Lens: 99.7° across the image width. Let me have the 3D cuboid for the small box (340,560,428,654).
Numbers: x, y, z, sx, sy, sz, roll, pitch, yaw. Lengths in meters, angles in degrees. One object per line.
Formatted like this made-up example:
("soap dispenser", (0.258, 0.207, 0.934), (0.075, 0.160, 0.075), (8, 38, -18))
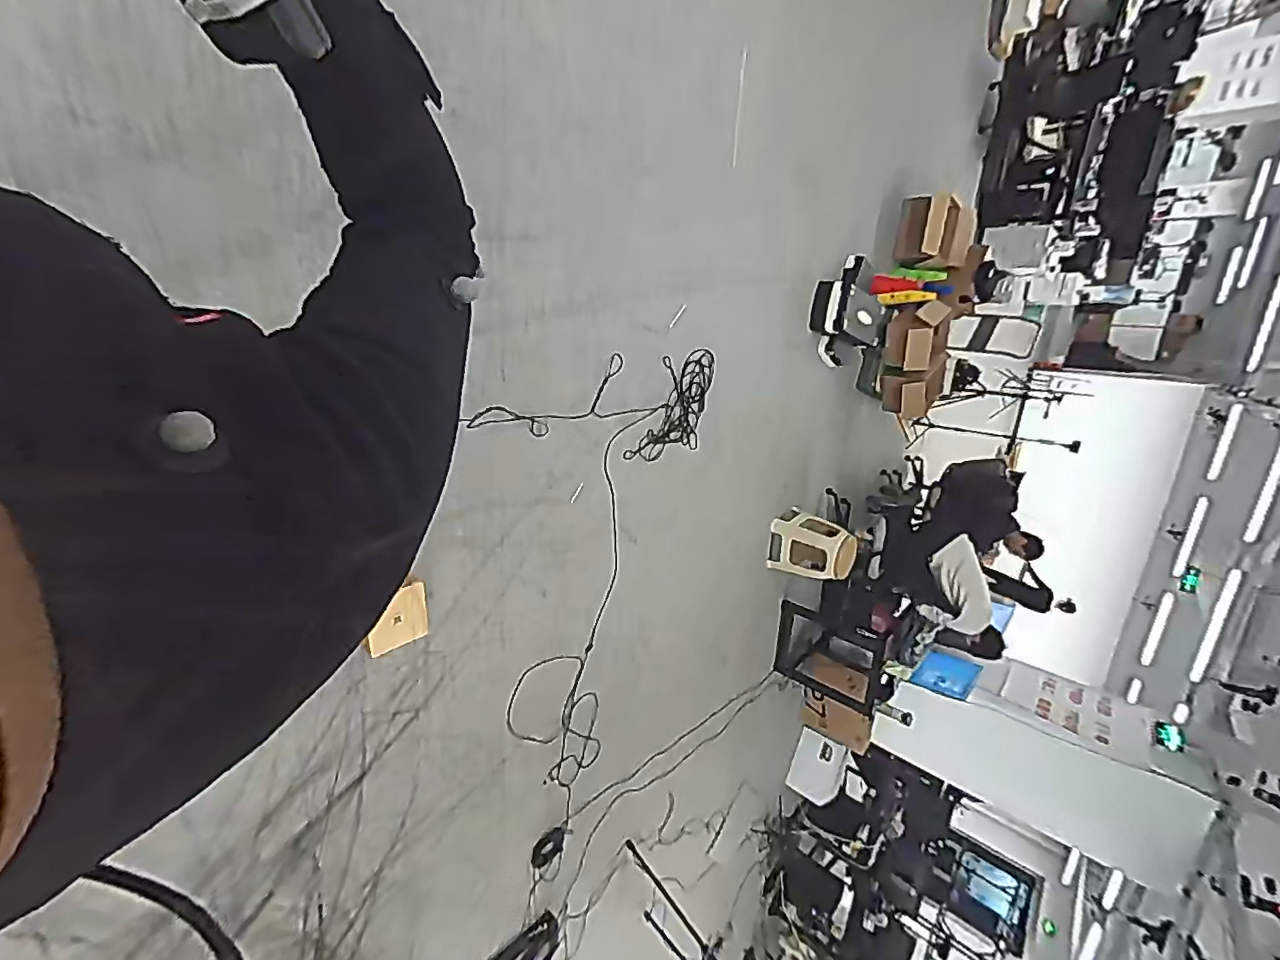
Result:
("small box", (-0.720, 0.350, 1.522), (0.168, 0.176, 0.179), (-18, 116, -46))
